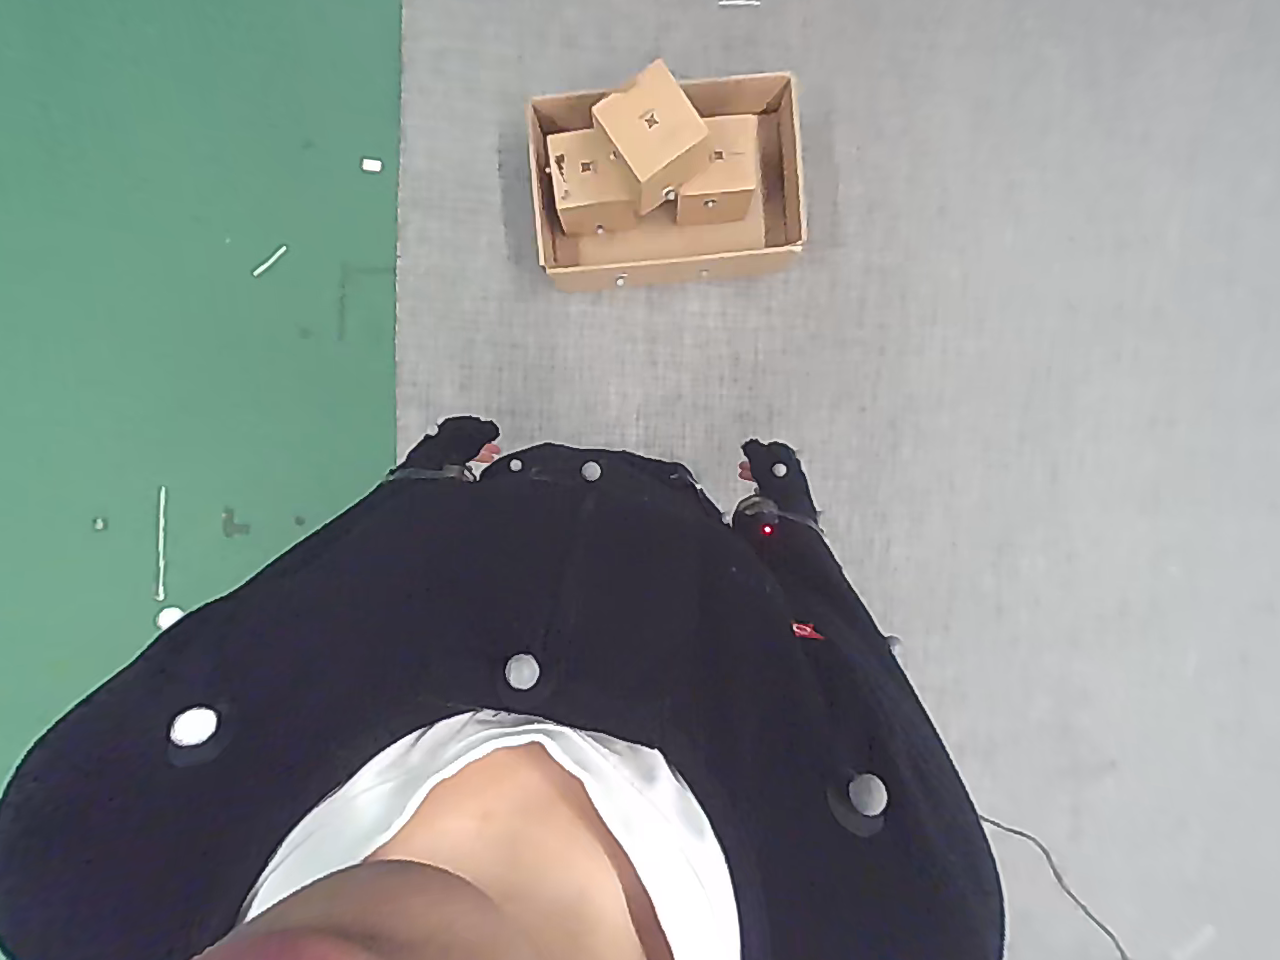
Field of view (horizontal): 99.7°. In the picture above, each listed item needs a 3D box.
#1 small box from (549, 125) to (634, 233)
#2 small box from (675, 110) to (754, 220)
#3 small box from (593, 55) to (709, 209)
[{"bbox_3d":[-0.111,-0.714,1.292,0.179,0.176,0.168,-8,93,0],"label":"small box"},{"bbox_3d":[0.168,-0.738,1.284,0.179,0.176,0.168,-4,94,2],"label":"small box"},{"bbox_3d":[0.021,-0.712,1.129,0.168,0.176,0.179,-35,94,3],"label":"small box"}]
